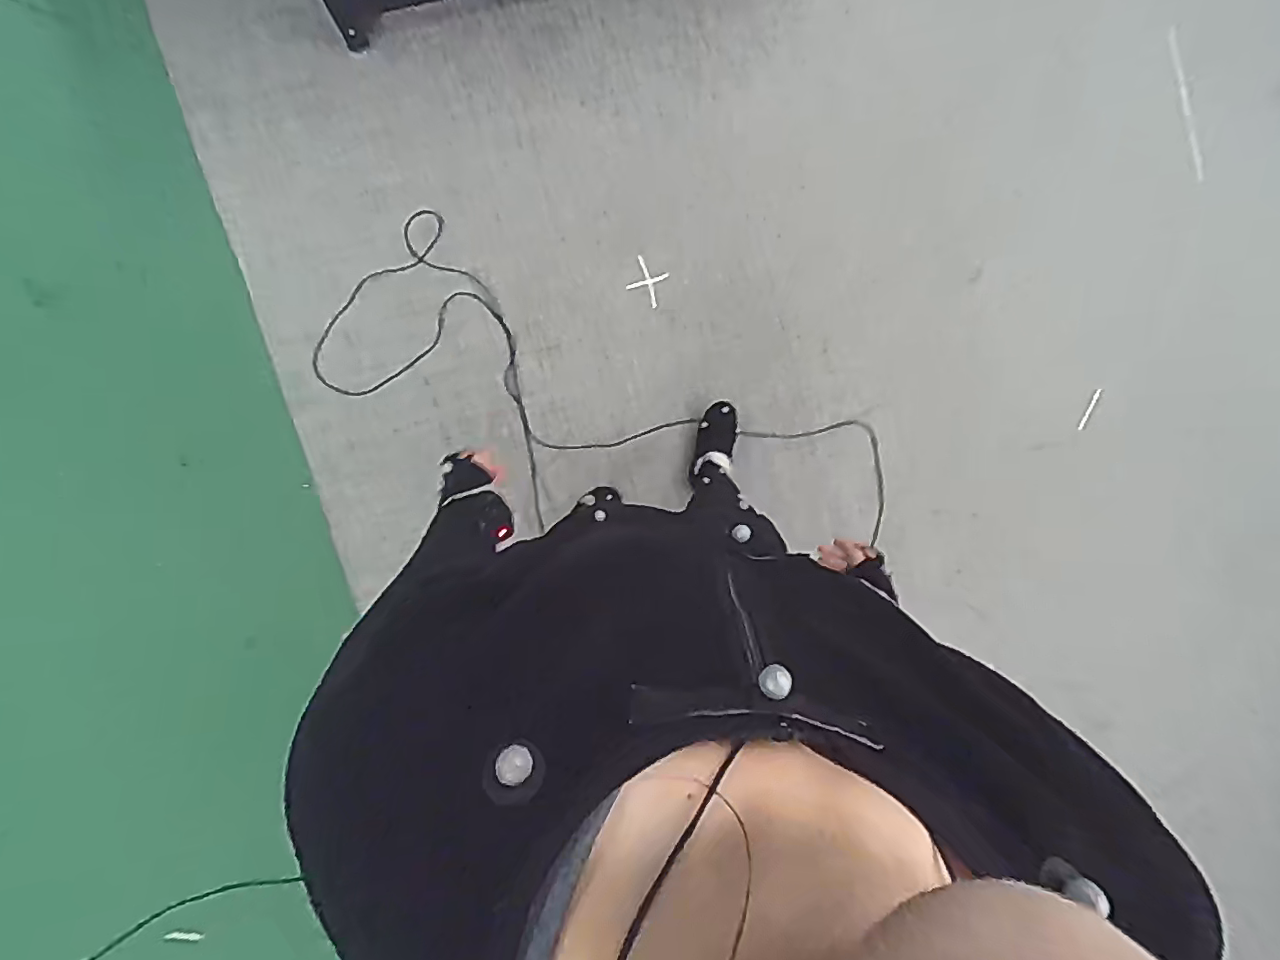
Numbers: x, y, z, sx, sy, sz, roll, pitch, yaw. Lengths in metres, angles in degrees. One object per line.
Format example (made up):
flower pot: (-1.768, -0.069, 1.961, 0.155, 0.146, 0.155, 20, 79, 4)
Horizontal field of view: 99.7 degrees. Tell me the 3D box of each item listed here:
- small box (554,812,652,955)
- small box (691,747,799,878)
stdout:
small box: (-0.086, 0.887, 1.215, 0.168, 0.176, 0.179, -20, 94, -5)
small box: (0.236, 0.756, 1.253, 0.179, 0.176, 0.168, -20, 92, -5)
